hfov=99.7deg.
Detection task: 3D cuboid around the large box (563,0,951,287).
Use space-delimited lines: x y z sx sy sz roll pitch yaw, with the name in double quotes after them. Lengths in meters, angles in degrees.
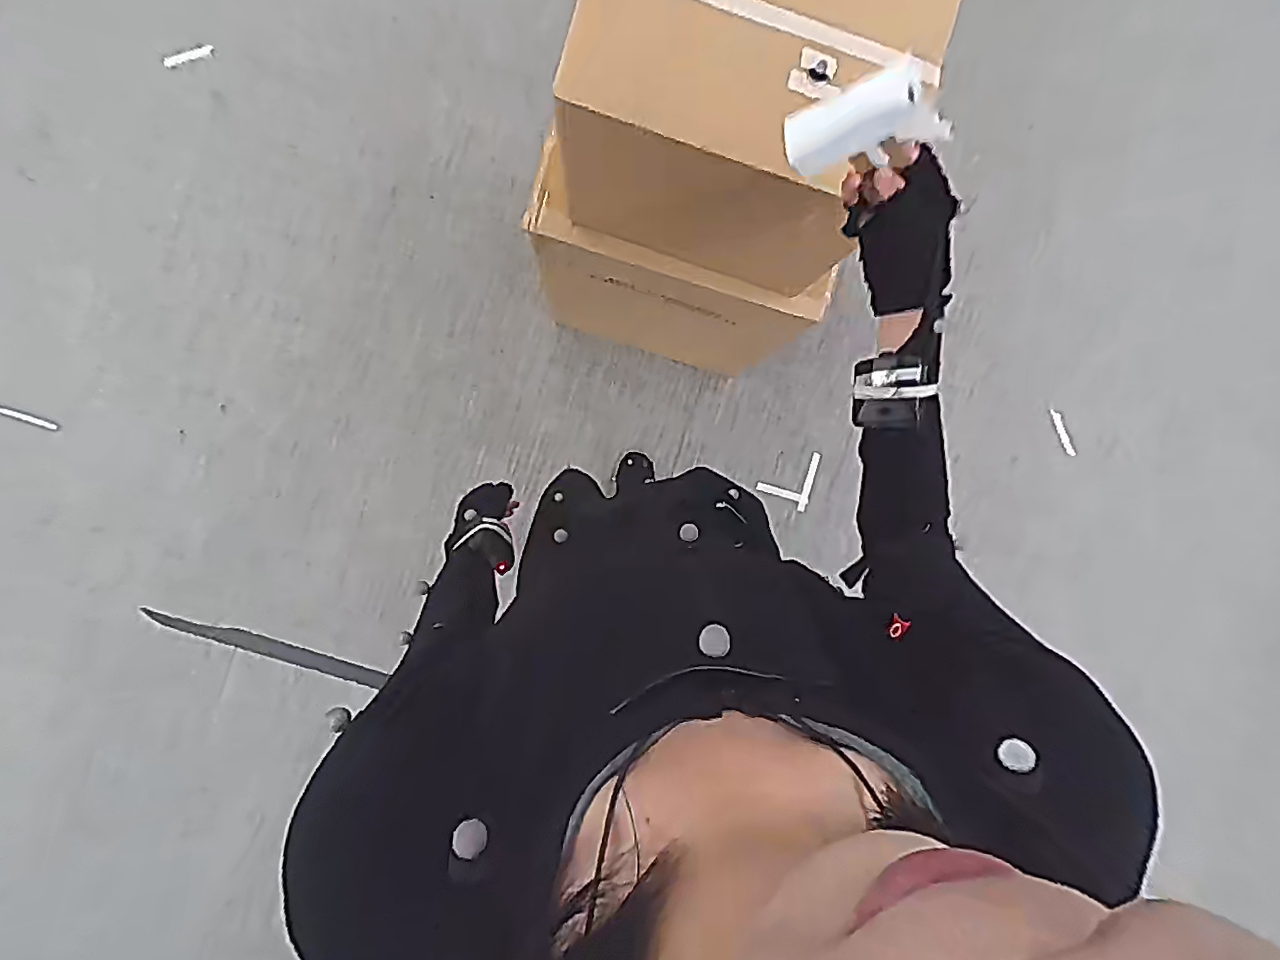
0.128 -0.517 0.753 0.408 0.320 0.320 16 91 -6 "large box"
